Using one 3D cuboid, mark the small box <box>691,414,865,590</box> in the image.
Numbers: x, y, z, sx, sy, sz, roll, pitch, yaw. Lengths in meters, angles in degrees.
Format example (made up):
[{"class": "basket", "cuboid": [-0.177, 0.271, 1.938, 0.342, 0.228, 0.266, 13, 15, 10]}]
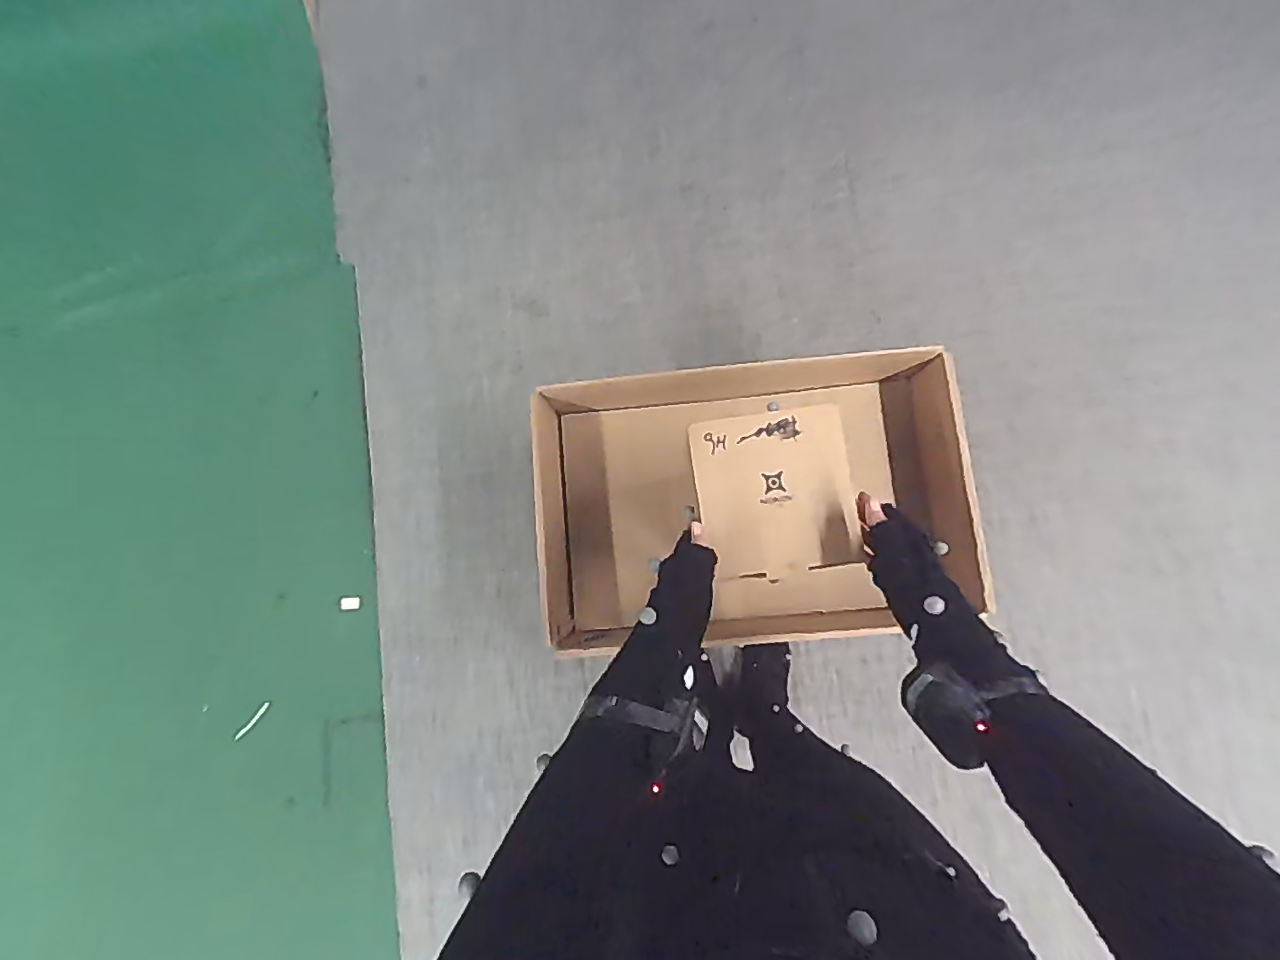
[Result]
[{"class": "small box", "cuboid": [0.154, 0.031, 0.660, 0.168, 0.176, 0.179, -8, 82, 3]}]
